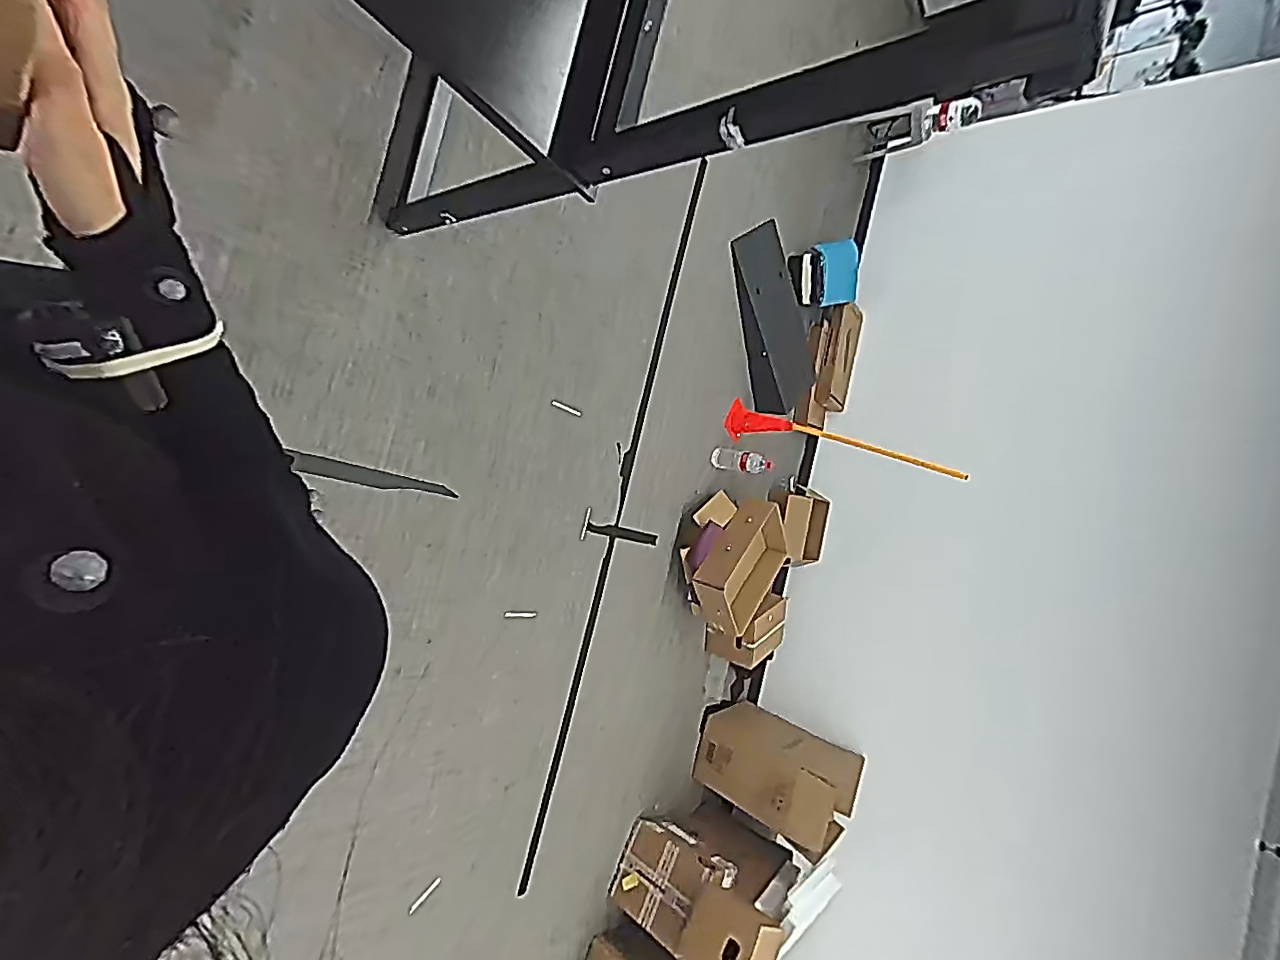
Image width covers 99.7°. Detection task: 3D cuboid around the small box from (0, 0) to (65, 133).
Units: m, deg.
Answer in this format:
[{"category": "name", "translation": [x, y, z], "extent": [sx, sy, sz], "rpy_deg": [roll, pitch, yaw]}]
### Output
[{"category": "small box", "translation": [-0.305, -0.245, 0.164], "extent": [0.168, 0.176, 0.179], "rpy_deg": [-6, 100, -52]}]
